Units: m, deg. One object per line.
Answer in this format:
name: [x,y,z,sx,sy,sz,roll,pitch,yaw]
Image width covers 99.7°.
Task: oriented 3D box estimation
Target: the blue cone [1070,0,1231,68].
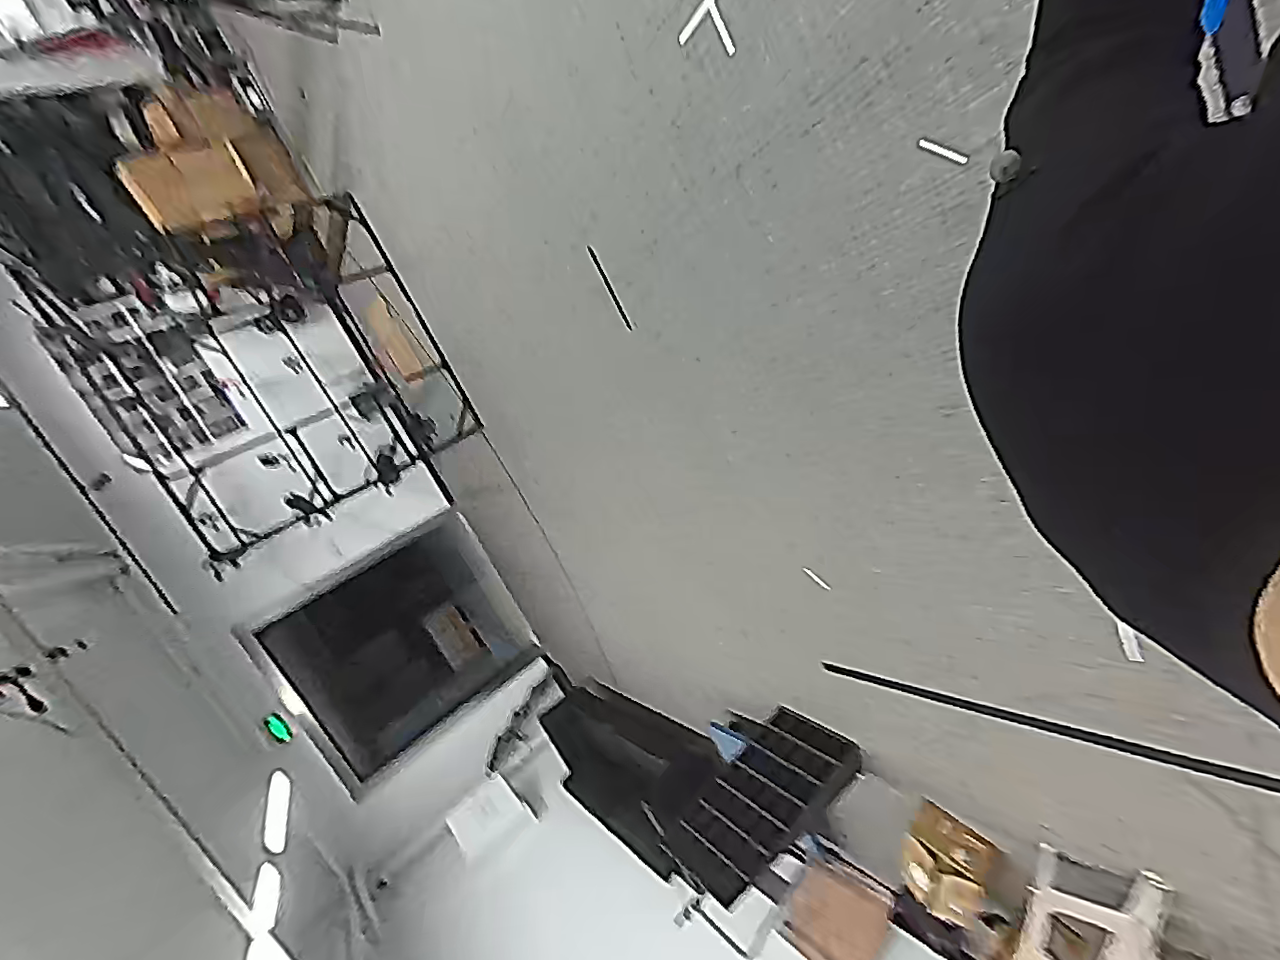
blue cone: [0.750,-0.751,0.829,0.193,0.380,0.192,22,137,47]
